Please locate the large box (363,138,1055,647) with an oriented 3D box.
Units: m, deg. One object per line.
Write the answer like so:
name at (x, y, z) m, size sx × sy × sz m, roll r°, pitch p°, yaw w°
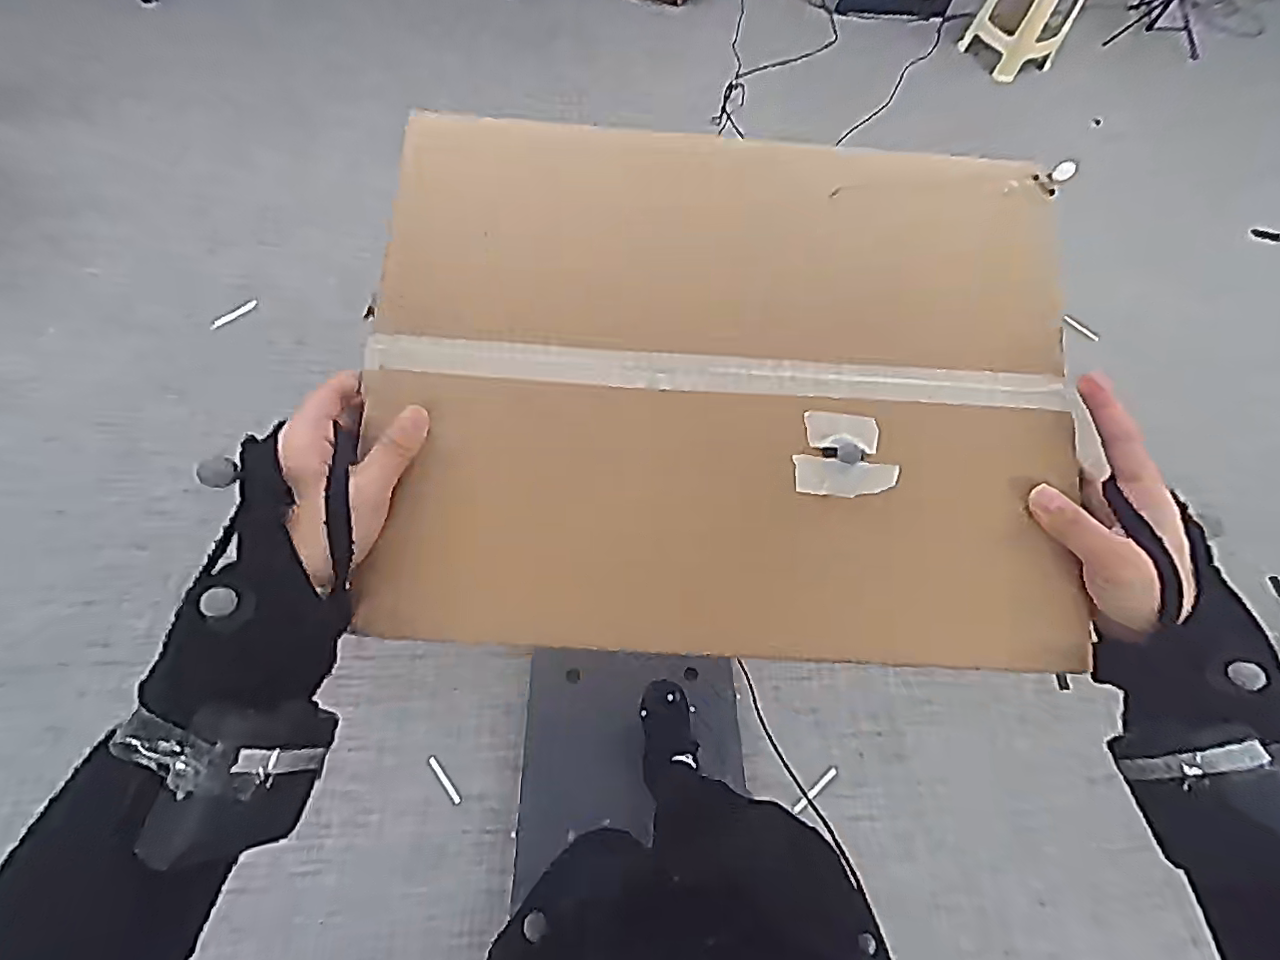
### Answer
large box at (0.041, -0.037, 0.476) m, size 0.408 × 0.320 × 0.320 m, roll 3°, pitch 81°, yaw -2°
